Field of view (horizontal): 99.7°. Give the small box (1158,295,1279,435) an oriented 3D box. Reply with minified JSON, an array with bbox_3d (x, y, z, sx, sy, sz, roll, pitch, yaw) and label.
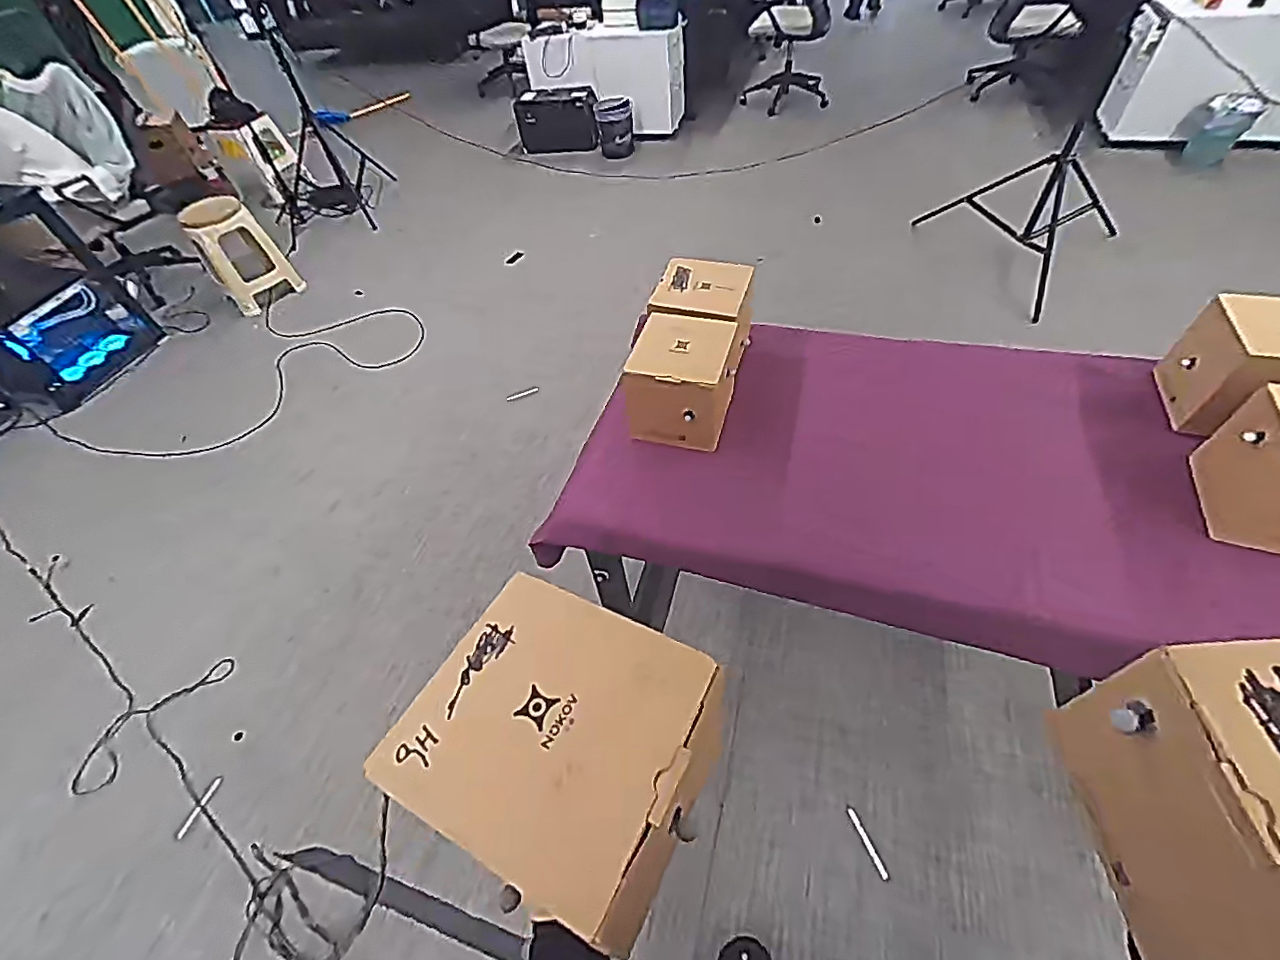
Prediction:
[{"bbox_3d":[1.009,-0.178,0.889,0.179,0.176,0.168,12,55,15],"label":"small box"}]

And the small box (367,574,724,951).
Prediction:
[{"bbox_3d":[-0.051,0.207,0.406,0.179,0.176,0.168,19,51,22],"label":"small box"}]

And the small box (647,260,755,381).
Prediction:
[{"bbox_3d":[0.126,-0.326,1.112,0.179,0.176,0.168,13,56,15],"label":"small box"}]

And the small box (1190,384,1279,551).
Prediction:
[{"bbox_3d":[0.943,-0.005,0.764,0.168,0.176,0.179,14,53,18],"label":"small box"}]
